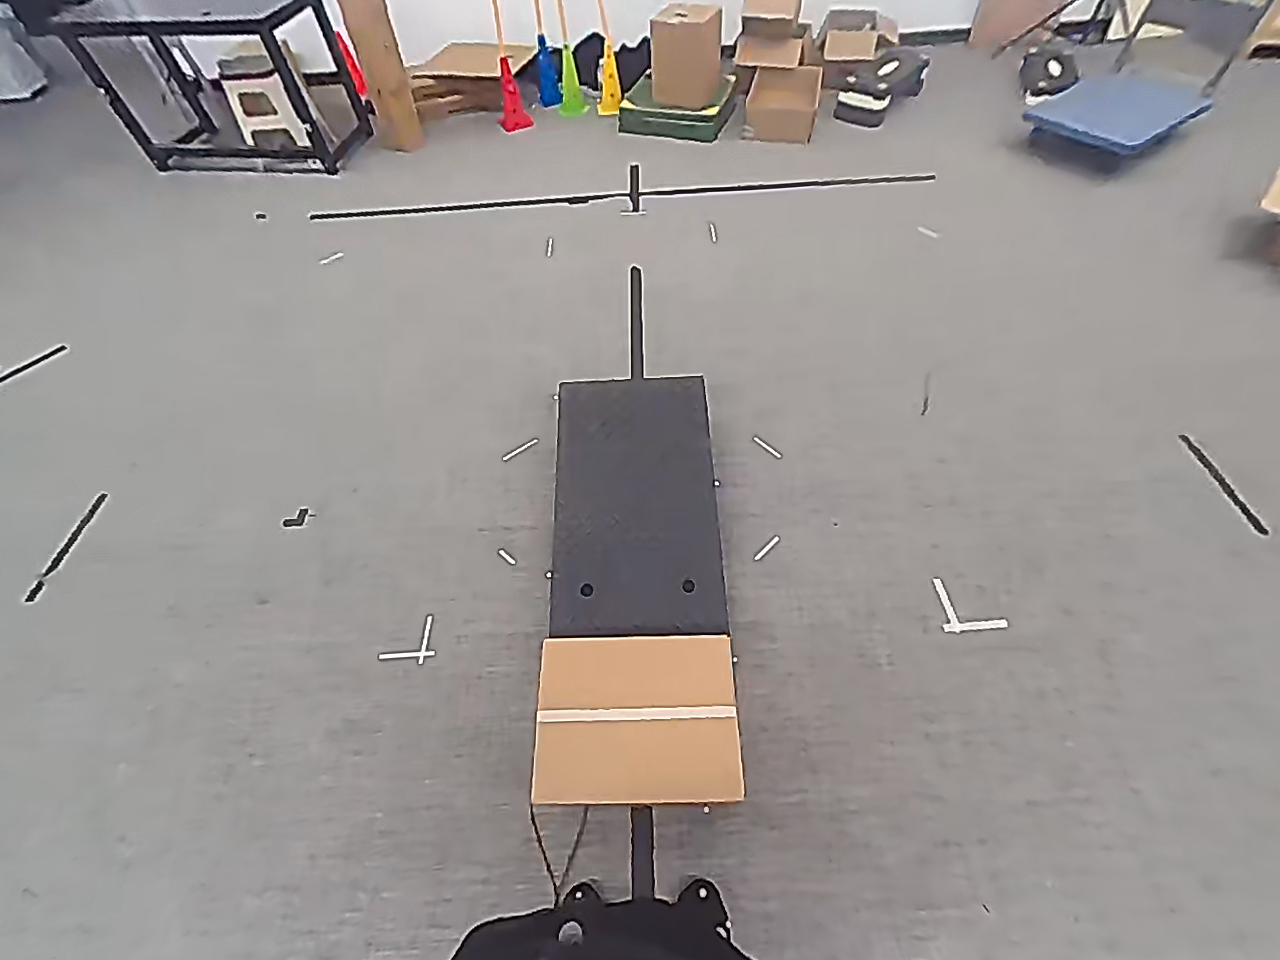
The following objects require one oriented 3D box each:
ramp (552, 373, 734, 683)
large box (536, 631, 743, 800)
[{"bbox_3d":[-0.007,0.104,1.623,0.509,0.206,0.991,-3,55,-1],"label":"ramp"},{"bbox_3d":[0.002,0.545,1.231,0.408,0.320,0.320,-2,58,2],"label":"large box"}]
